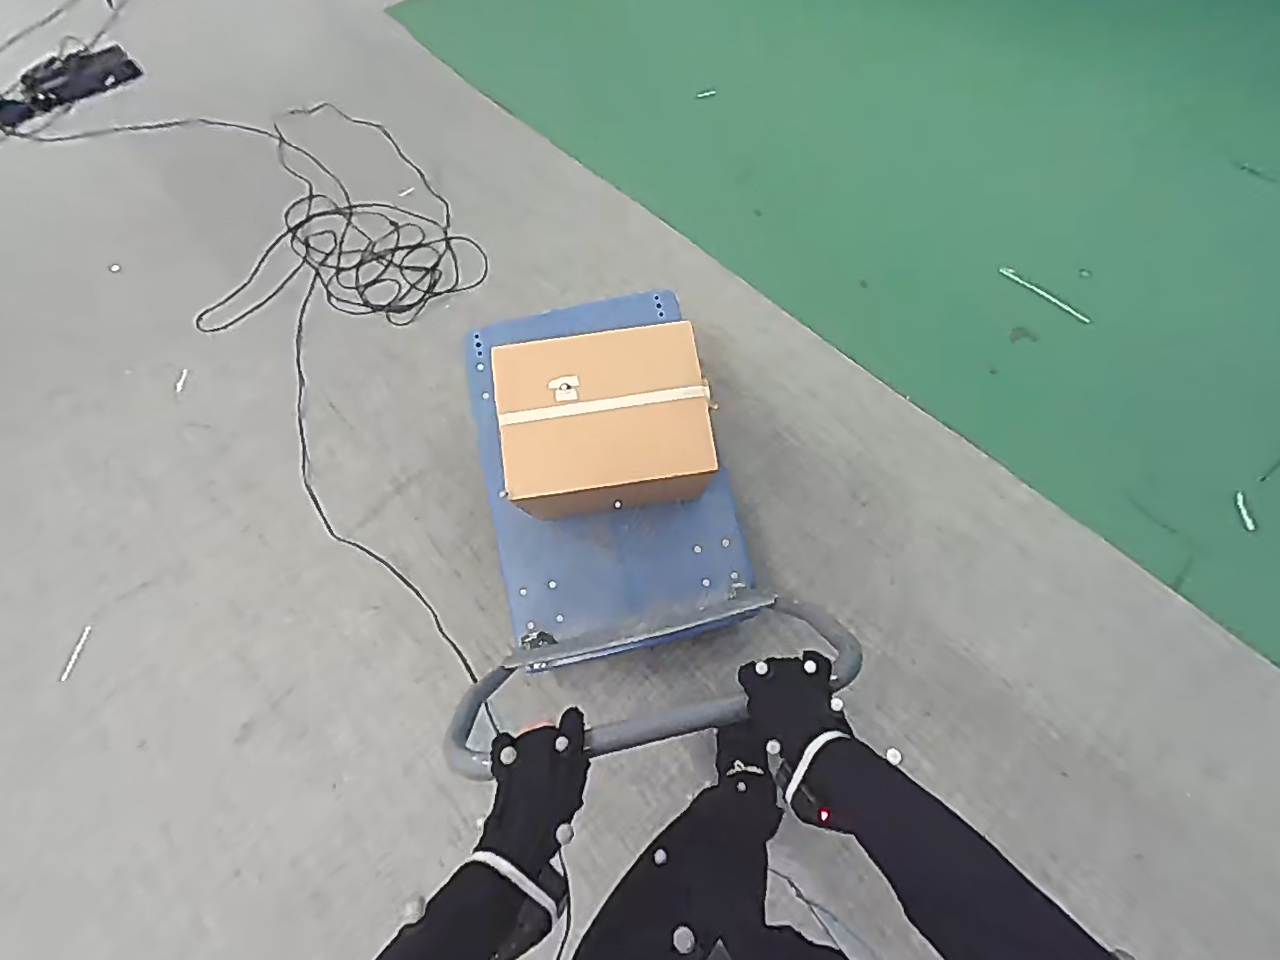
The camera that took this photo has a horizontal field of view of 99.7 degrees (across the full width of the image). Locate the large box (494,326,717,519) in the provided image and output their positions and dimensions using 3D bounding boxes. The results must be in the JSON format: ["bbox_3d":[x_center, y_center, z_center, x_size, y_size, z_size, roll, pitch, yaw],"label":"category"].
[{"bbox_3d":[-0.069,-0.104,1.191,0.408,0.320,0.320,-8,79,-1],"label":"large box"}]
